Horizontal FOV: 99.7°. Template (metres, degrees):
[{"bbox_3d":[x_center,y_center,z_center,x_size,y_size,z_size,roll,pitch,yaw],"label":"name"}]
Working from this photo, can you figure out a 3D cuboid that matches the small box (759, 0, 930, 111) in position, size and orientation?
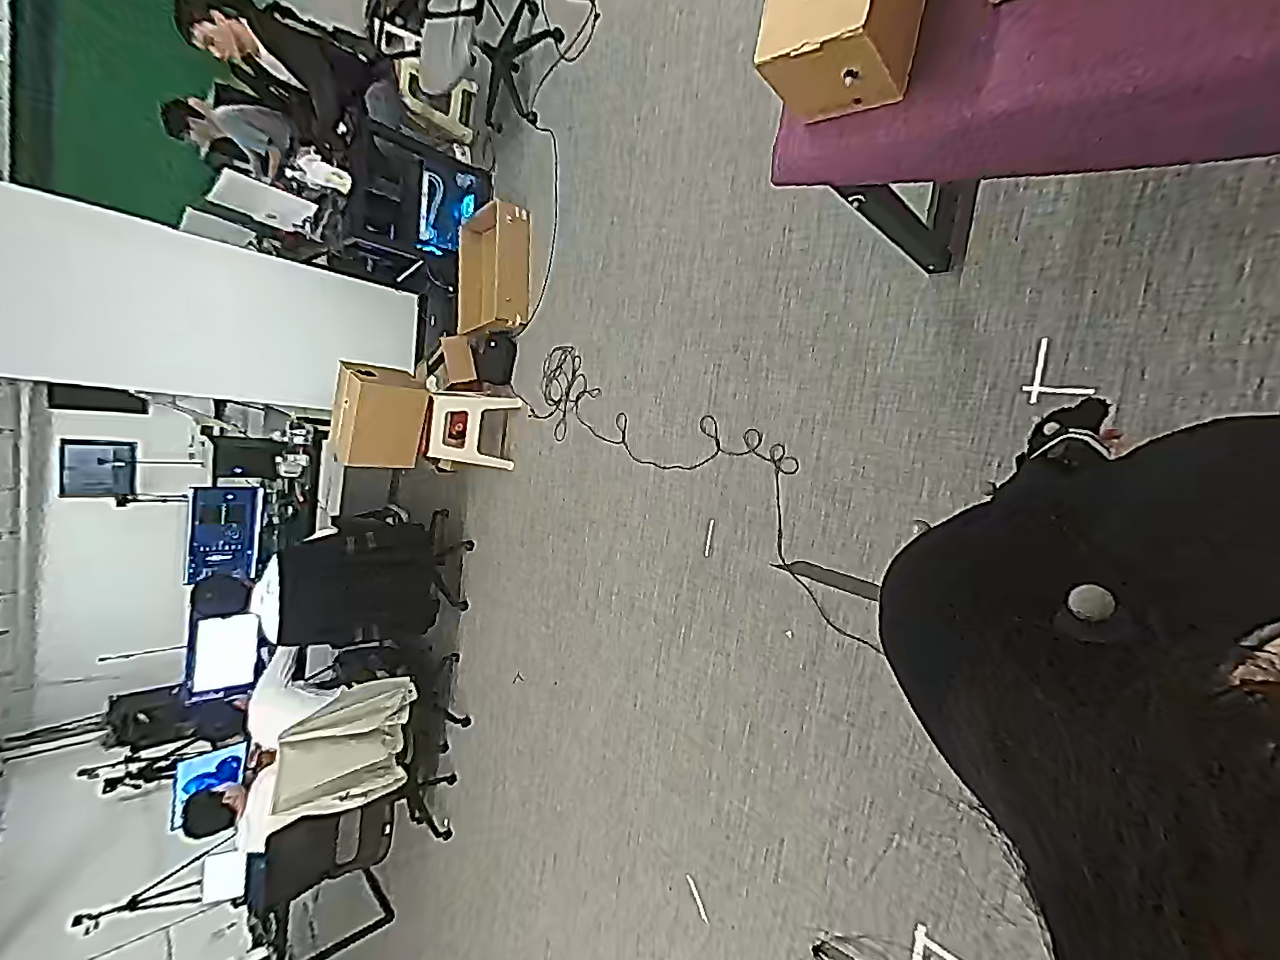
[{"bbox_3d":[0.298,-0.667,0.775,0.168,0.176,0.179,16,98,41],"label":"small box"}]
